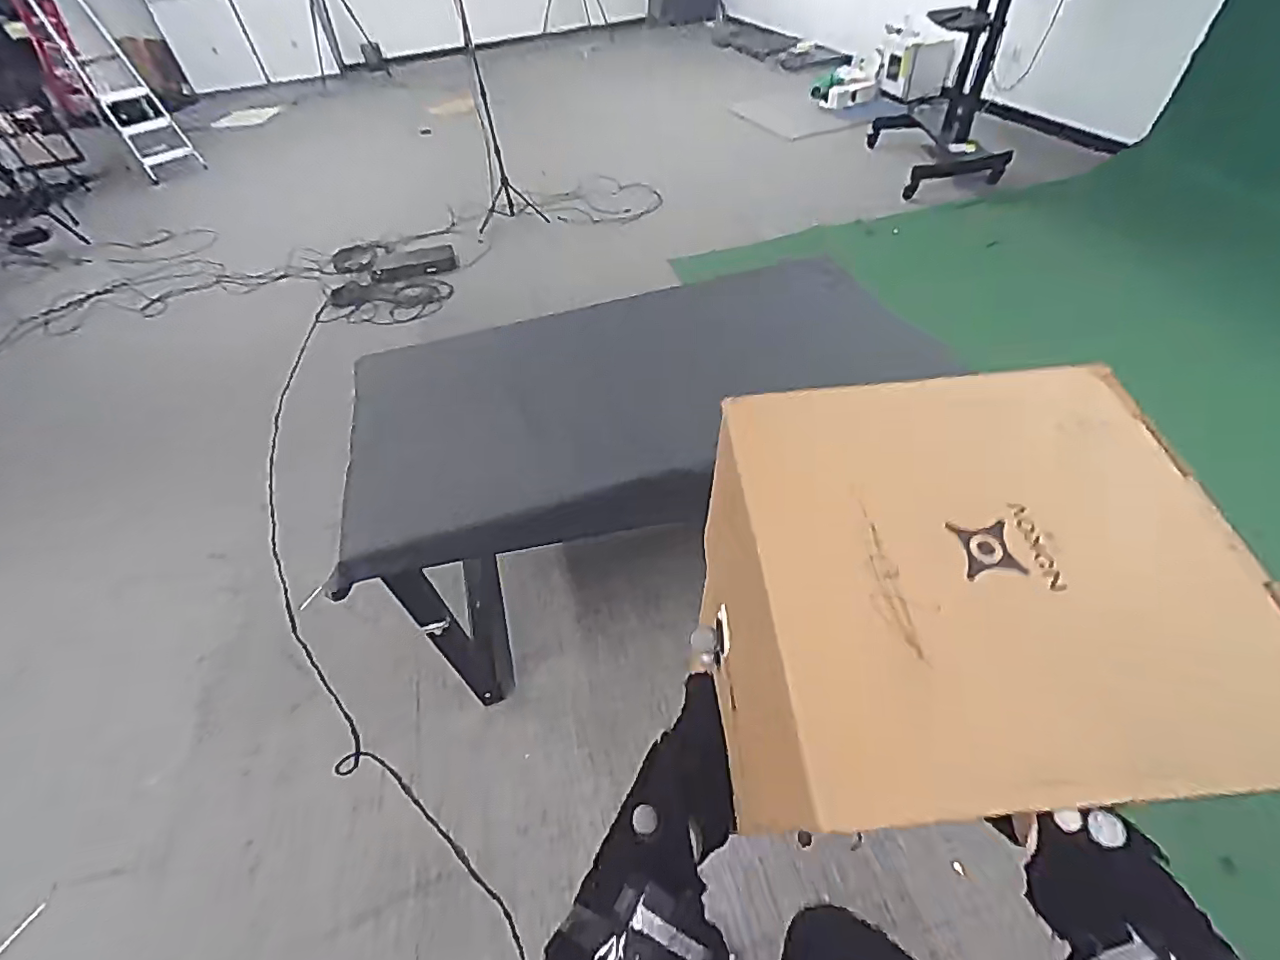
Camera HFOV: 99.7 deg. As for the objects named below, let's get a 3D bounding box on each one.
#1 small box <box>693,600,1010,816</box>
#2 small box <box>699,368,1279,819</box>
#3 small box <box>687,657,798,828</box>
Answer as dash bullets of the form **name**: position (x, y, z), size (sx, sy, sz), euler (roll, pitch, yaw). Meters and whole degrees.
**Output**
- **small box**: position (0.141, 0.154, 0.413), size (0.179, 0.176, 0.168), euler (-4, 57, -1)
- **small box**: position (0.131, 0.067, 0.277), size (0.179, 0.176, 0.168), euler (-6, 58, 0)
- **small box**: position (0.150, 0.243, 0.551), size (0.179, 0.176, 0.168), euler (-6, 59, -3)
